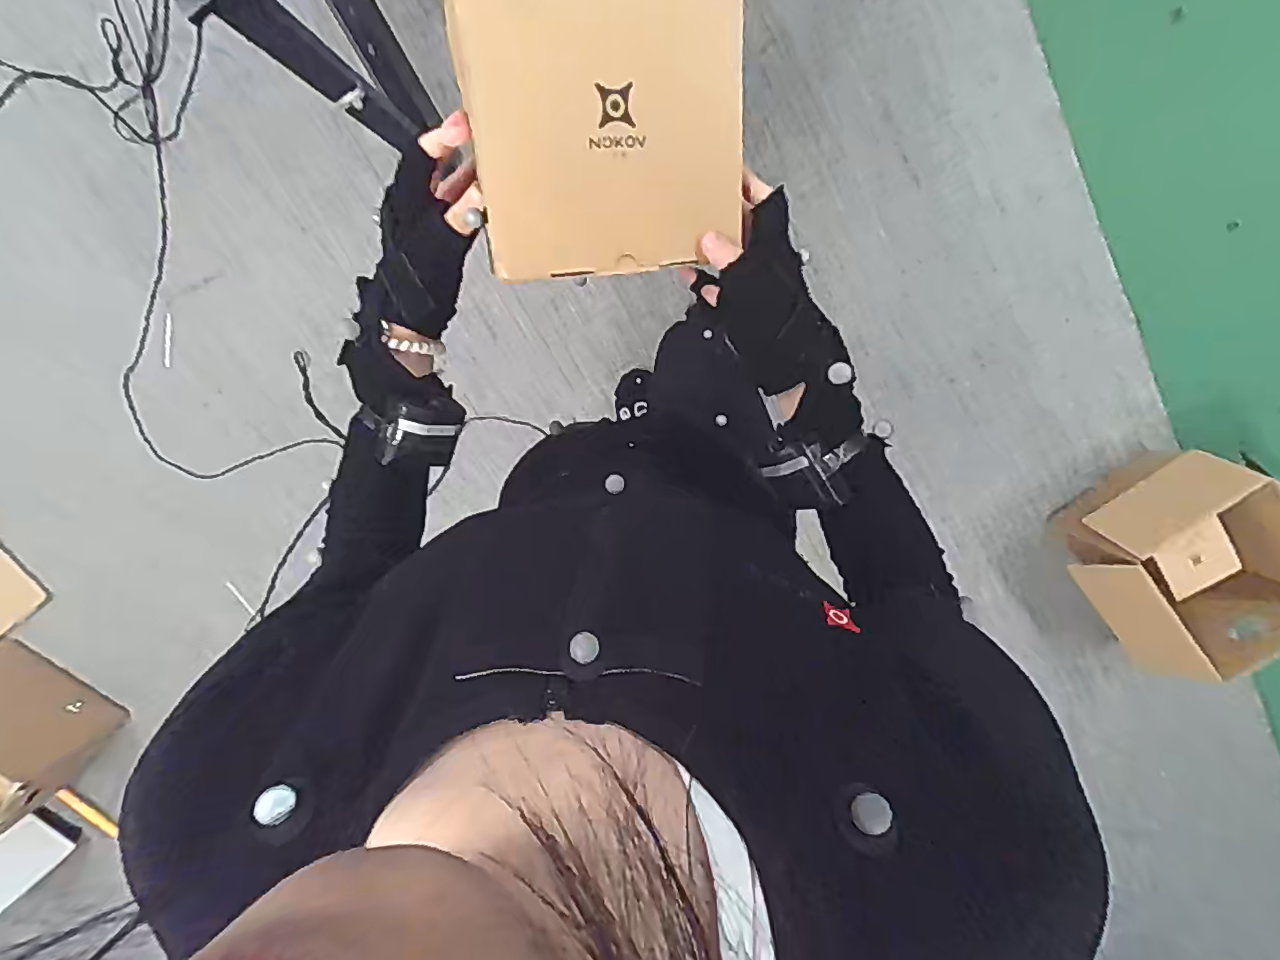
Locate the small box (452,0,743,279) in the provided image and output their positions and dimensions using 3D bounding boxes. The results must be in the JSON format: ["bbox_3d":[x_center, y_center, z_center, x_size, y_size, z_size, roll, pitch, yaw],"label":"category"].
[{"bbox_3d":[-0.037,-0.247,0.393,0.168,0.176,0.179,-11,116,-13],"label":"small box"}]
